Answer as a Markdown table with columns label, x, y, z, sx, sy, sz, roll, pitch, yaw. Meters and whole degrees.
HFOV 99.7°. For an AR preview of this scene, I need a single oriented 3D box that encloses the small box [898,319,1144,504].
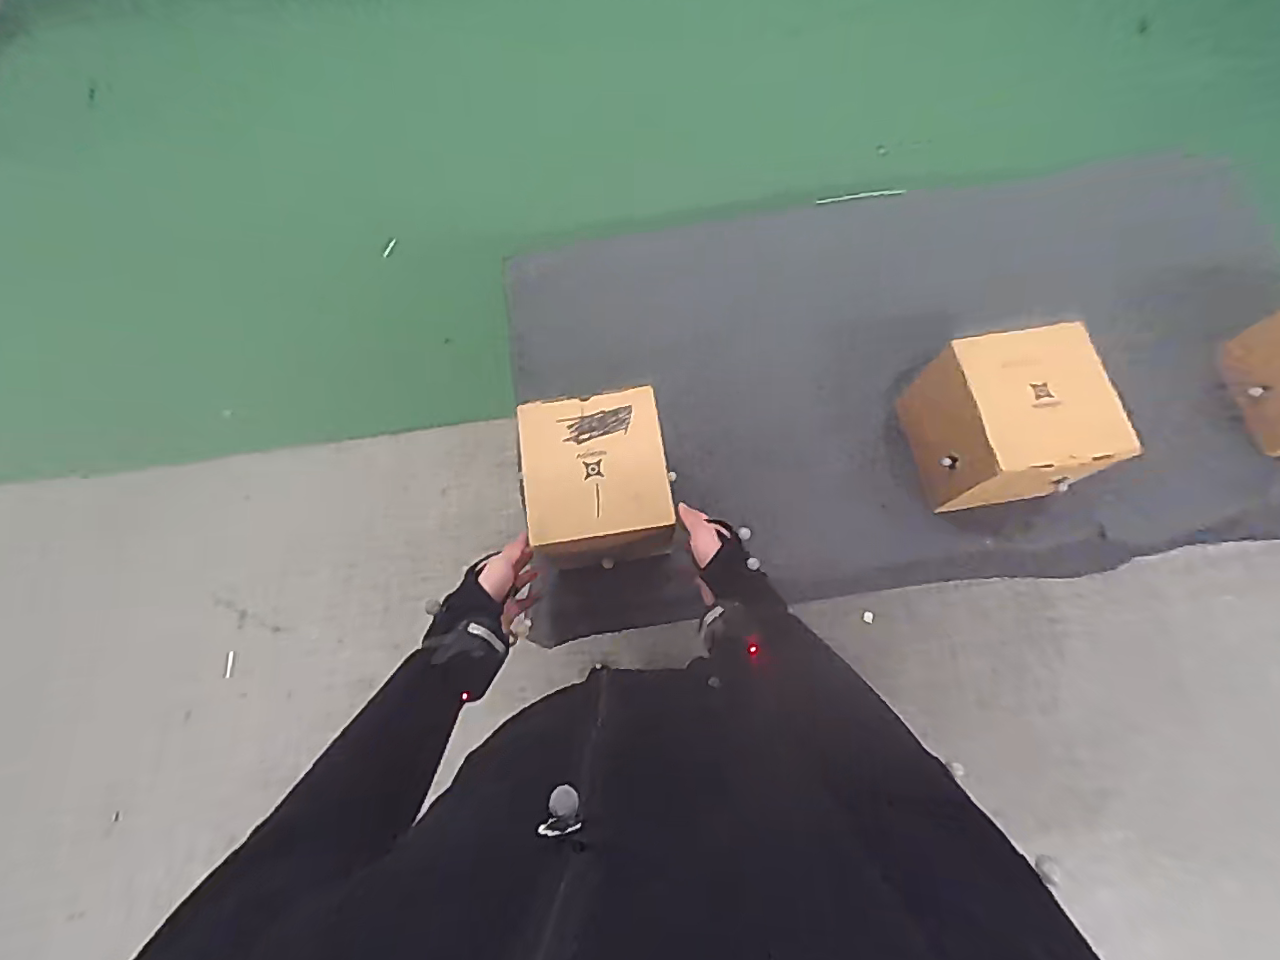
| label | x | y | z | sx | sy | sz | roll | pitch | yaw |
| --- | --- | --- | --- | --- | --- | --- | --- | --- | --- |
| small box | 0.466 | -0.076 | 0.696 | 0.168 | 0.176 | 0.179 | -9 | 70 | -2 |

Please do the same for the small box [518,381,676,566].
| label | x | y | z | sx | sy | sz | roll | pitch | yaw |
| --- | --- | --- | --- | --- | --- | --- | --- | --- | --- |
| small box | -0.052 | -0.001 | 0.684 | 0.168 | 0.176 | 0.179 | -8 | 71 | -1 |

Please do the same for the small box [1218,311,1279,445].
| label | x | y | z | sx | sy | sz | roll | pitch | yaw |
| --- | --- | --- | --- | --- | --- | --- | --- | --- | --- |
| small box | 0.934 | -0.148 | 0.697 | 0.168 | 0.176 | 0.179 | -7 | 71 | 2 |
